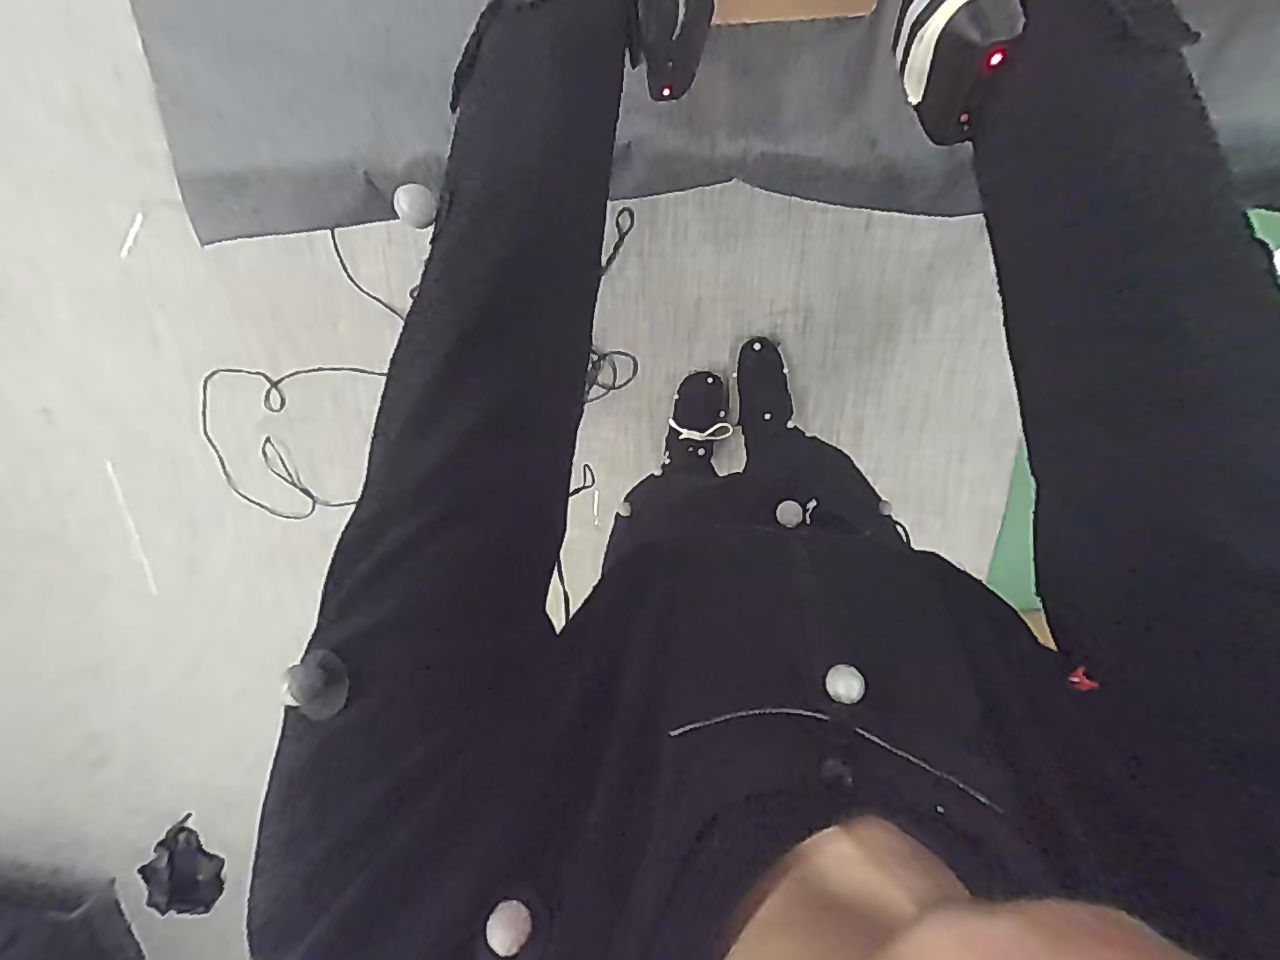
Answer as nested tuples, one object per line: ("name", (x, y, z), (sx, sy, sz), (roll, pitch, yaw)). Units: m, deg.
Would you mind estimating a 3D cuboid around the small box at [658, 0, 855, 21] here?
("small box", (0.090, -0.445, 0.361), (0.179, 0.176, 0.168), (2, 108, 7))
